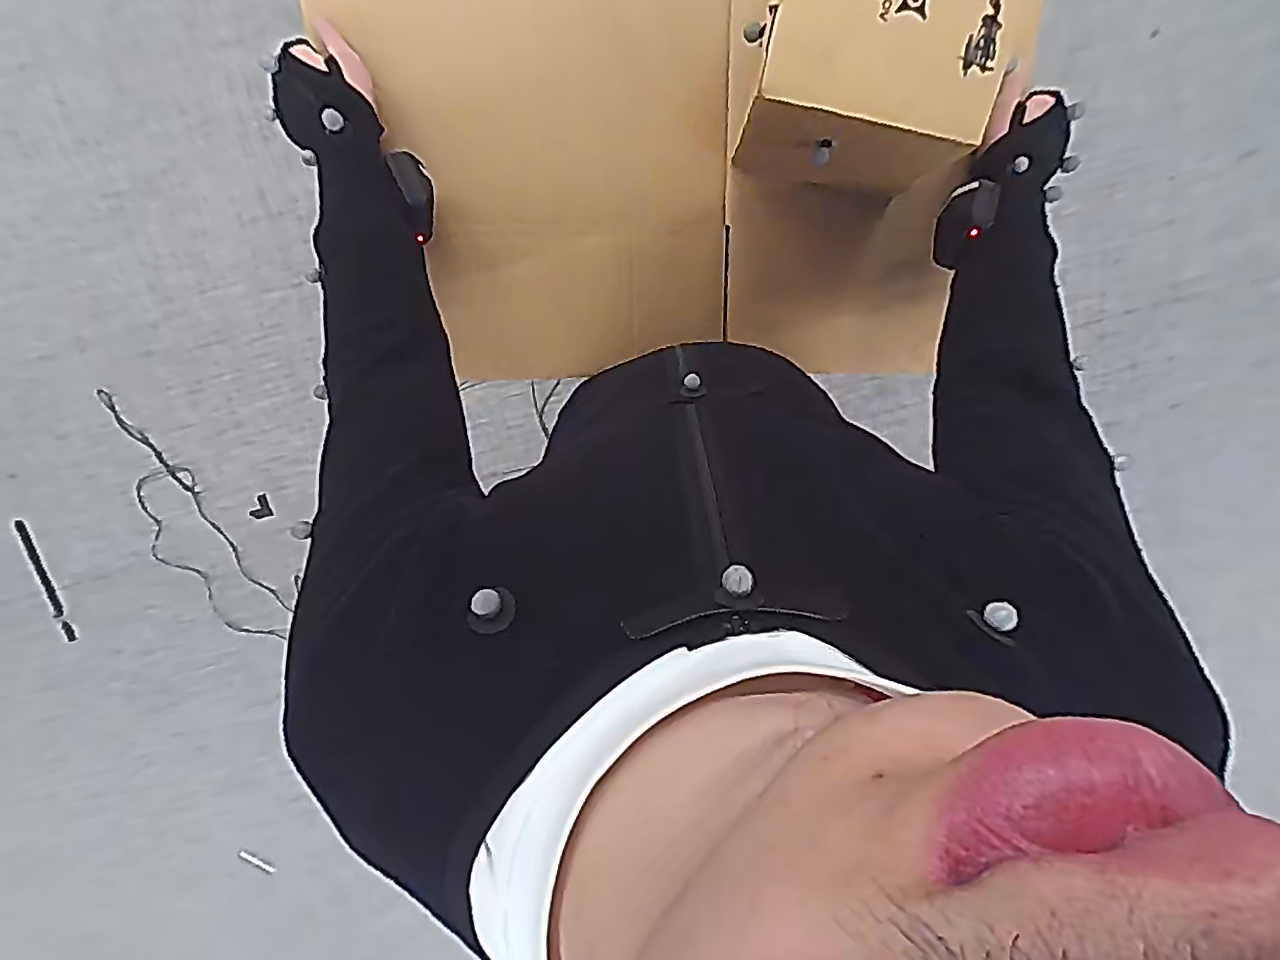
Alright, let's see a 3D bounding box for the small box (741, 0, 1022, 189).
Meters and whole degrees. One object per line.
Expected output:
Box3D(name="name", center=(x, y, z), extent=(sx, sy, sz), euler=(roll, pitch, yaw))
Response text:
Box3D(name="small box", center=(0.195, -0.374, 0.470), extent=(0.179, 0.176, 0.168), euler=(13, 106, 1))
